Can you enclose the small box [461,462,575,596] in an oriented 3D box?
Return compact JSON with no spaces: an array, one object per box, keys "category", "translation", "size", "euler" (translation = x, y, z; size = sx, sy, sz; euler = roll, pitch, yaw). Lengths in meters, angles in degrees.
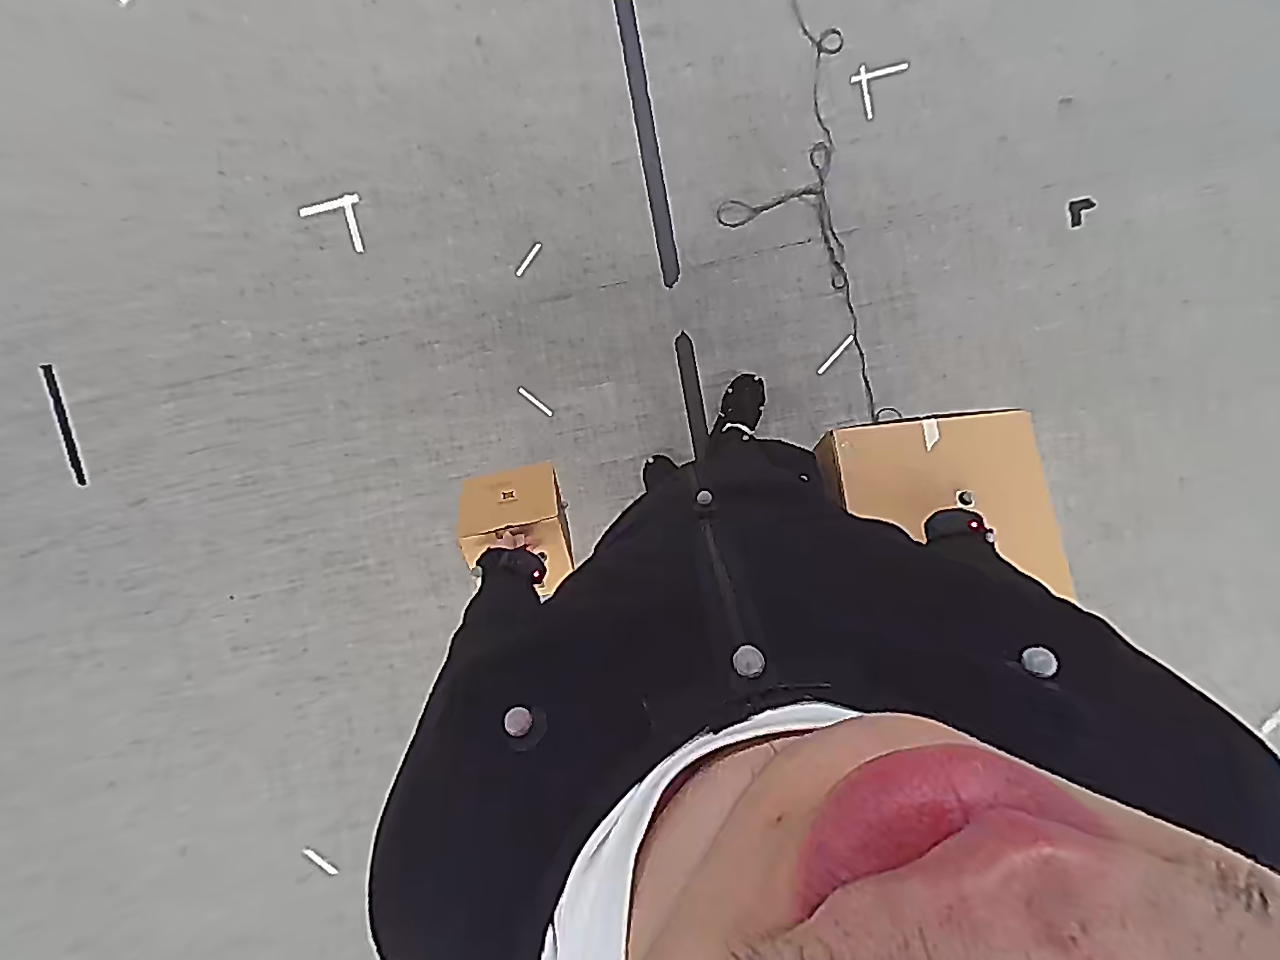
[{"category":"small box","translation":[-0.218,0.094,0.994],"size":[0.168,0.179,0.176],"euler":[-11,124,-6]}]
